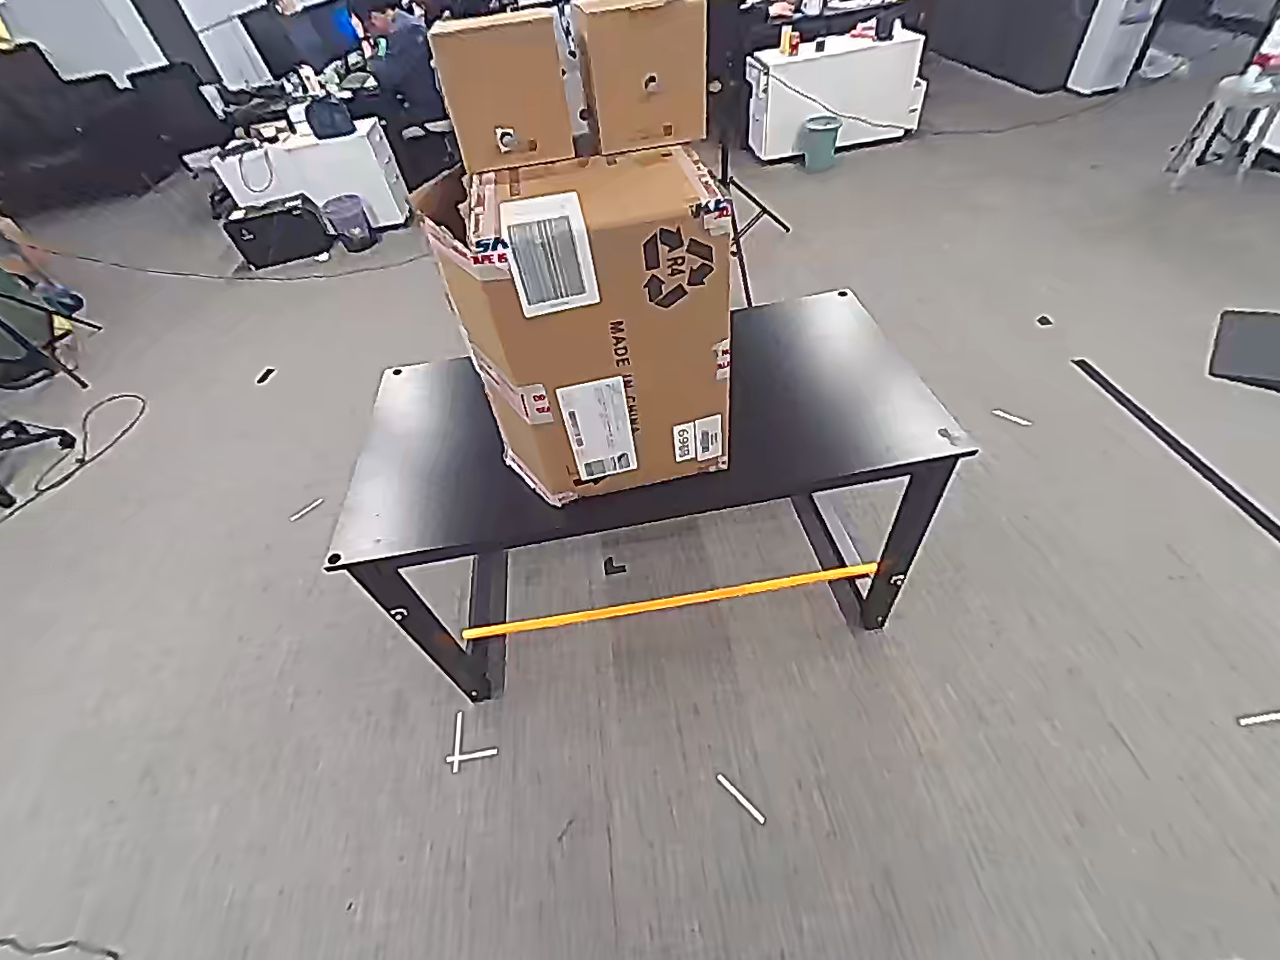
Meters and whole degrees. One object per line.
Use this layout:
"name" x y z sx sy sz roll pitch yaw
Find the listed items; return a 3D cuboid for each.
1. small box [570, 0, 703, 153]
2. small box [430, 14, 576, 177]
"small box" -0.004 -0.616 0.823 0.168 0.176 0.179 -11 47 -5
"small box" -0.200 -0.579 0.816 0.168 0.176 0.179 -14 46 -4
